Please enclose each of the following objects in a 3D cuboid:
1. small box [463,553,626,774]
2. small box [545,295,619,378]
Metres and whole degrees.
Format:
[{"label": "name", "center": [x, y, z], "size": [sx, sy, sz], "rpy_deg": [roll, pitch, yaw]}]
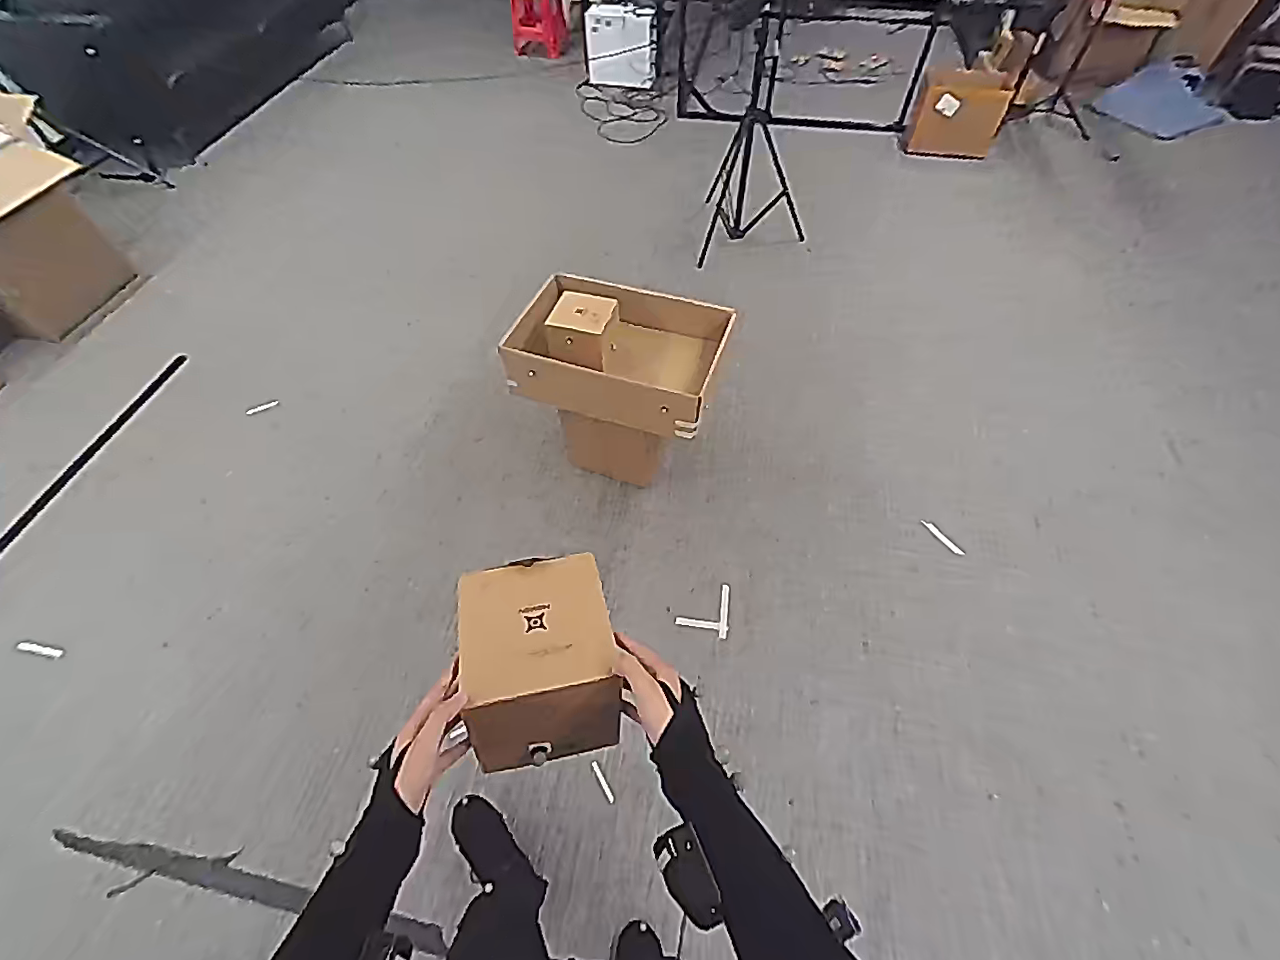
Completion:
[{"label": "small box", "center": [-0.116, 0.217, 0.654], "size": [0.168, 0.176, 0.179], "rpy_deg": [-8, 41, -12]}, {"label": "small box", "center": [-0.171, -0.437, 1.656], "size": [0.179, 0.176, 0.168], "rpy_deg": [14, 56, 10]}]
